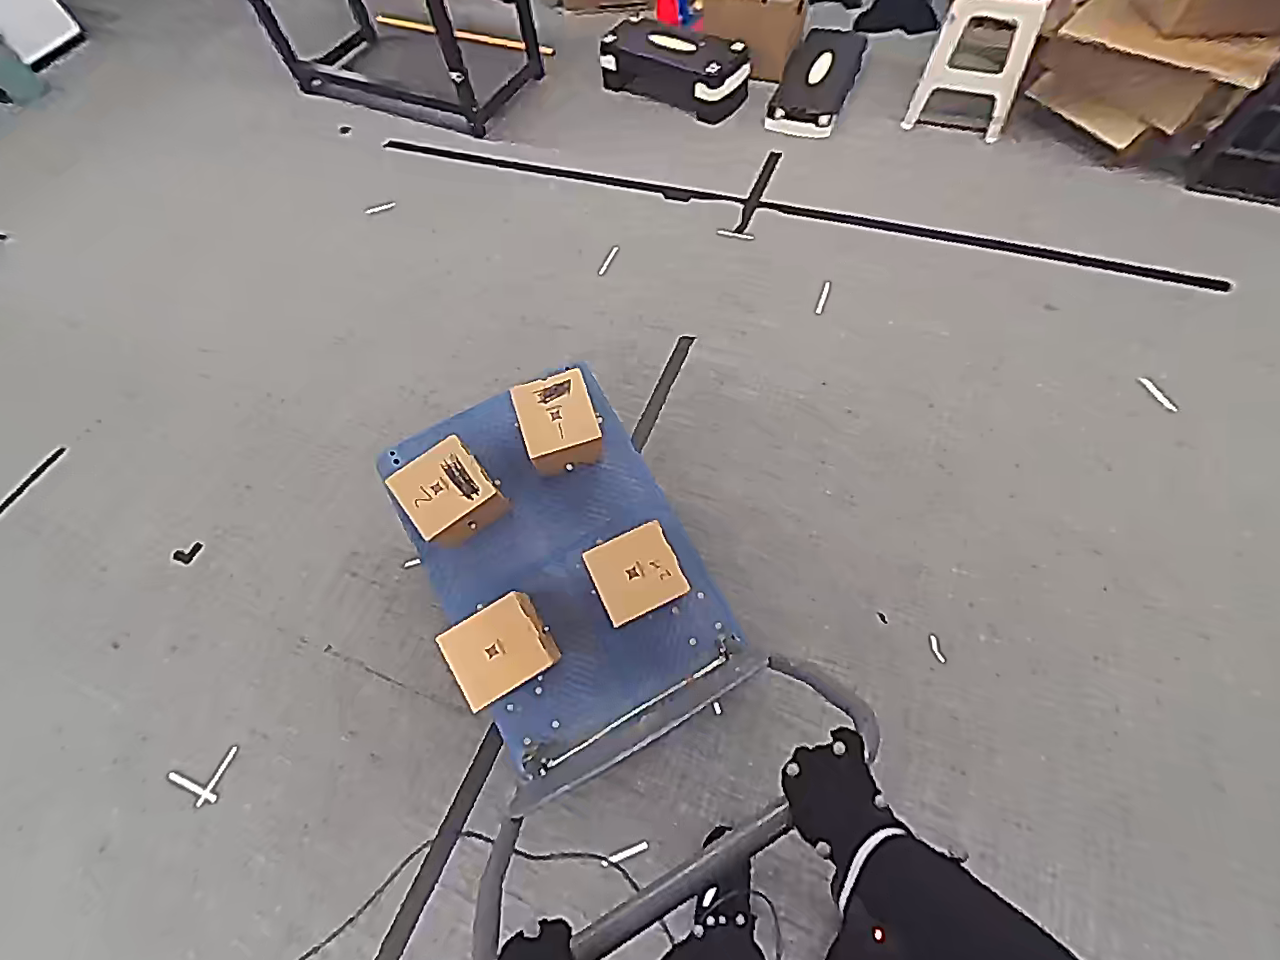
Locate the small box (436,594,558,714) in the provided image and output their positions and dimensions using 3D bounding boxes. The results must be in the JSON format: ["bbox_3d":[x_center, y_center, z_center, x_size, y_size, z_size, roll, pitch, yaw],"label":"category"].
[{"bbox_3d":[-0.289,0.359,1.131,0.179,0.176,0.168,-31,79,-12],"label":"small box"}]

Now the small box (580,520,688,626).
[{"bbox_3d":[-0.014,0.209,1.182,0.179,0.176,0.168,-25,78,-8],"label":"small box"}]

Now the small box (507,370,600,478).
[{"bbox_3d":[-0.198,-0.126,1.263,0.168,0.176,0.179,-18,78,-7],"label":"small box"}]
